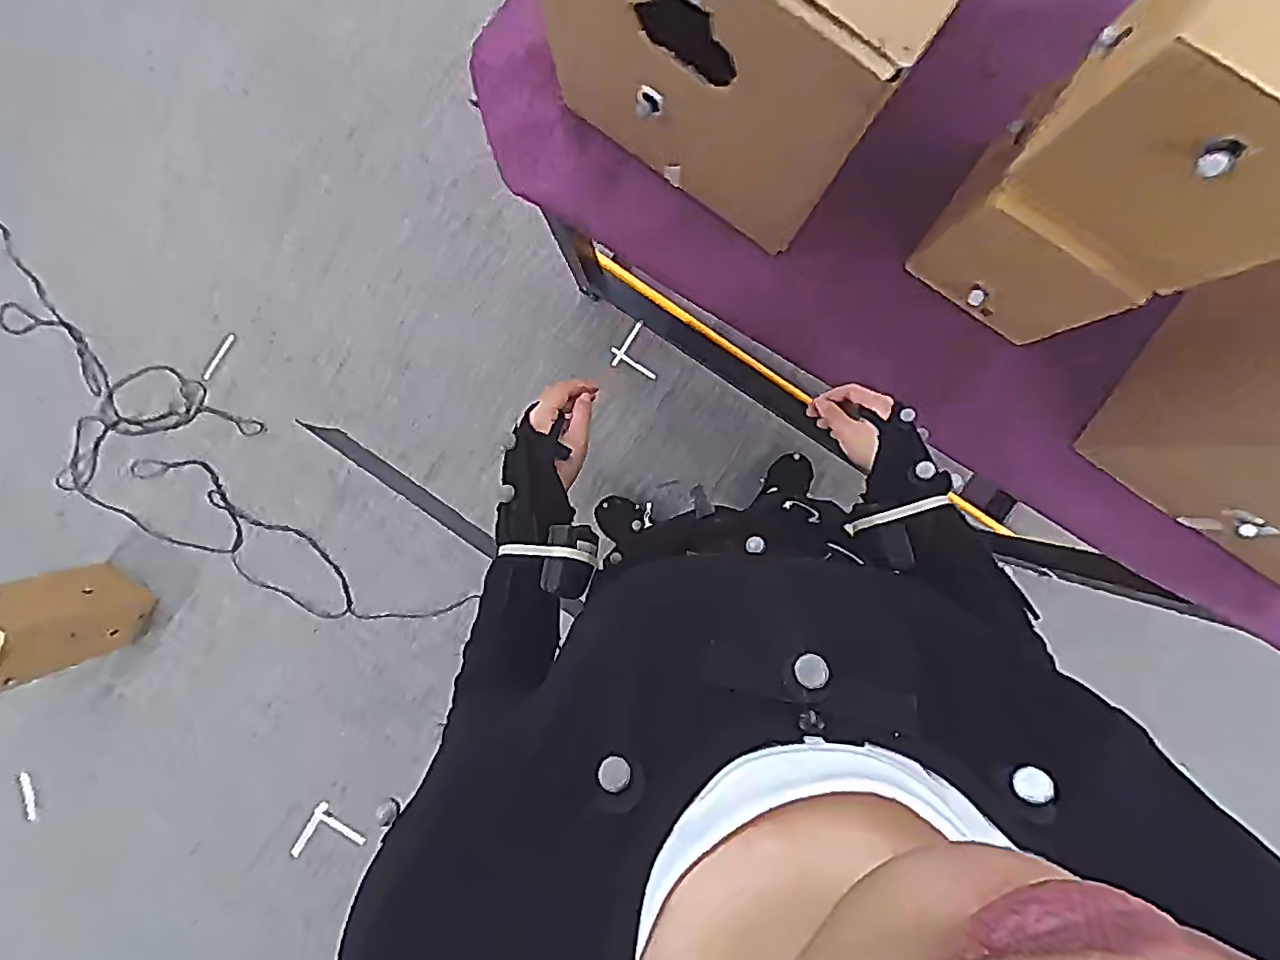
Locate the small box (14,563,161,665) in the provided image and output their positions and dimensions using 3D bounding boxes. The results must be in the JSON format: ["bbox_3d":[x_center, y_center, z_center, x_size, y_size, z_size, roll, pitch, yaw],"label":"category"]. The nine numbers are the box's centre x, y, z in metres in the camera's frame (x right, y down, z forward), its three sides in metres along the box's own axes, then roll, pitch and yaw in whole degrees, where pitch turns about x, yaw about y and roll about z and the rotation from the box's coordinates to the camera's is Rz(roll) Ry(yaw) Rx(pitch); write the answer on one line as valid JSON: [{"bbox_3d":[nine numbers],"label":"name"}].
[{"bbox_3d":[-1.395,0.331,1.379,0.179,0.176,0.168,33,93,1],"label":"small box"}]

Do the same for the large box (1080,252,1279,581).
[{"bbox_3d":[0.728,-0.113,0.470,0.320,0.320,0.408,34,92,1],"label":"large box"}]

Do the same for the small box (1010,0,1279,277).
[{"bbox_3d":[0.425,-0.271,0.382,0.179,0.176,0.168,35,93,2],"label":"small box"}]
